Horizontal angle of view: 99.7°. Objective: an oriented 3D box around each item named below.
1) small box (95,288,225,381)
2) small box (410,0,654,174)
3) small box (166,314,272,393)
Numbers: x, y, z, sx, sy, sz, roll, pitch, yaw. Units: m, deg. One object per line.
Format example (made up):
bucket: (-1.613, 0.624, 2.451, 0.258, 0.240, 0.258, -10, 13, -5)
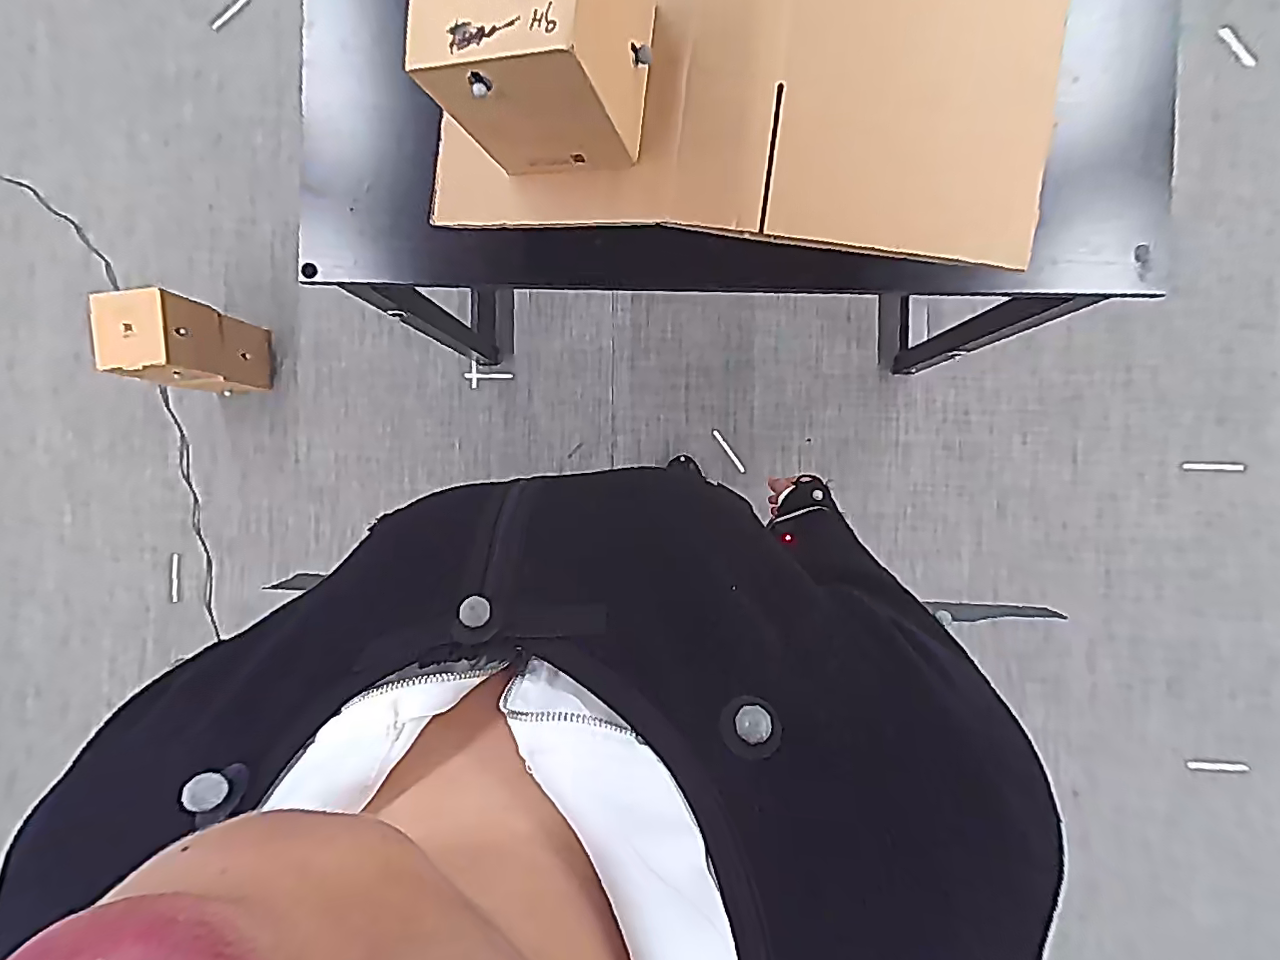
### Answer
small box: (-1.140, -0.340, 1.297, 0.168, 0.176, 0.179, -5, 89, 2)
small box: (-0.091, -0.435, 0.530, 0.168, 0.176, 0.179, 7, 91, 18)
small box: (-1.132, -0.336, 1.459, 0.168, 0.176, 0.179, -2, 91, 3)
